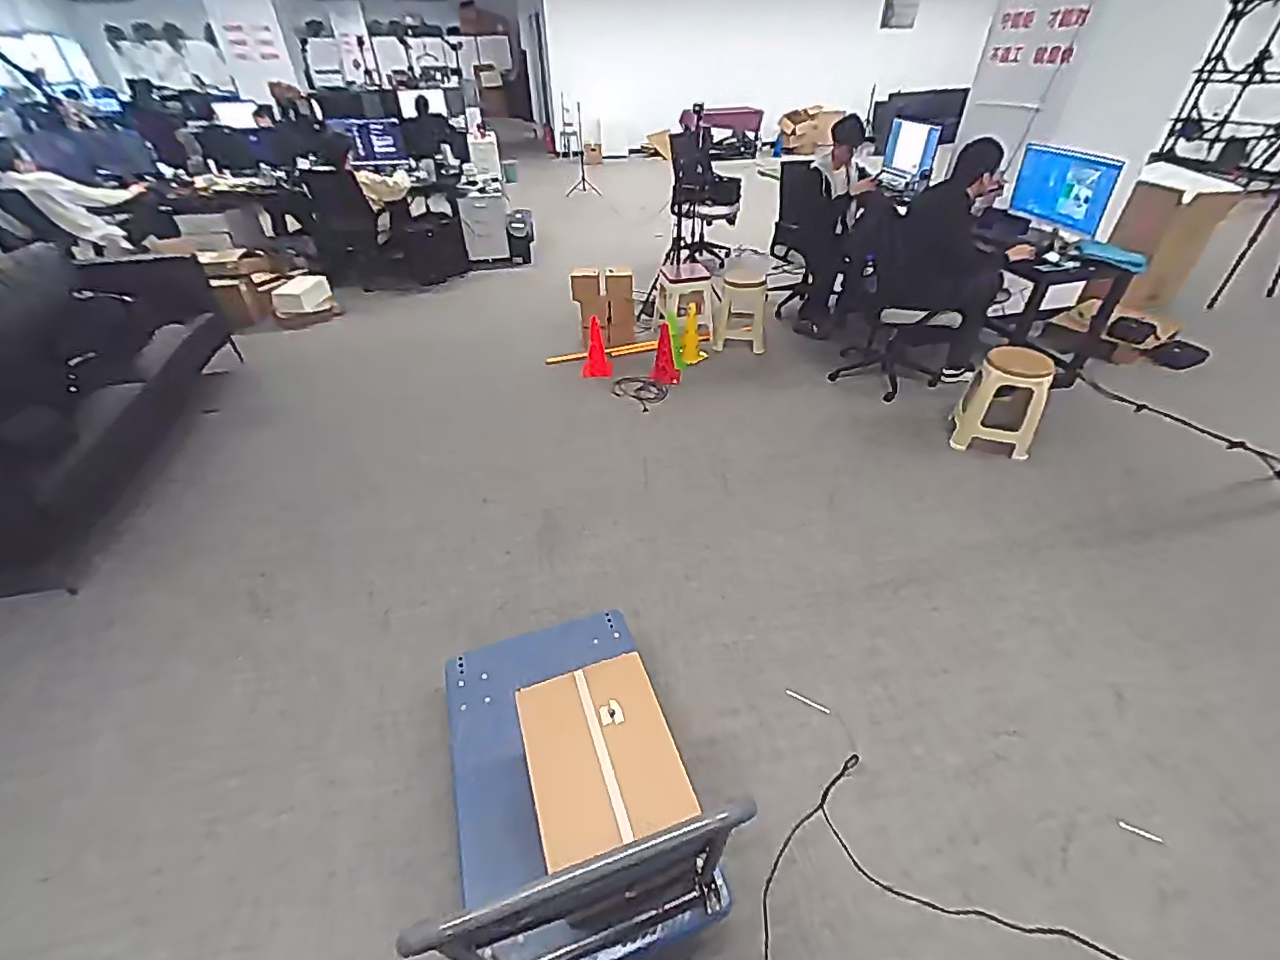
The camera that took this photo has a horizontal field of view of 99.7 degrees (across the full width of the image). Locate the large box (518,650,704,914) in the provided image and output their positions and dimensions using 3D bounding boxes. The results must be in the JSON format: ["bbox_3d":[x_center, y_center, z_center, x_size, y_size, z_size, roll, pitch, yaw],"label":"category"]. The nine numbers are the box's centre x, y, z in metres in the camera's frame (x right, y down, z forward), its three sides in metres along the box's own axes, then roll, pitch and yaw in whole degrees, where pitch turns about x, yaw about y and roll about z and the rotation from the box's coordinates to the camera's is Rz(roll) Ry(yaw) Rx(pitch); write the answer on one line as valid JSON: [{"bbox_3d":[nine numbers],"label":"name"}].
[{"bbox_3d":[-0.075,0.695,1.277,0.320,0.320,0.408,-14,41,-15],"label":"large box"}]
